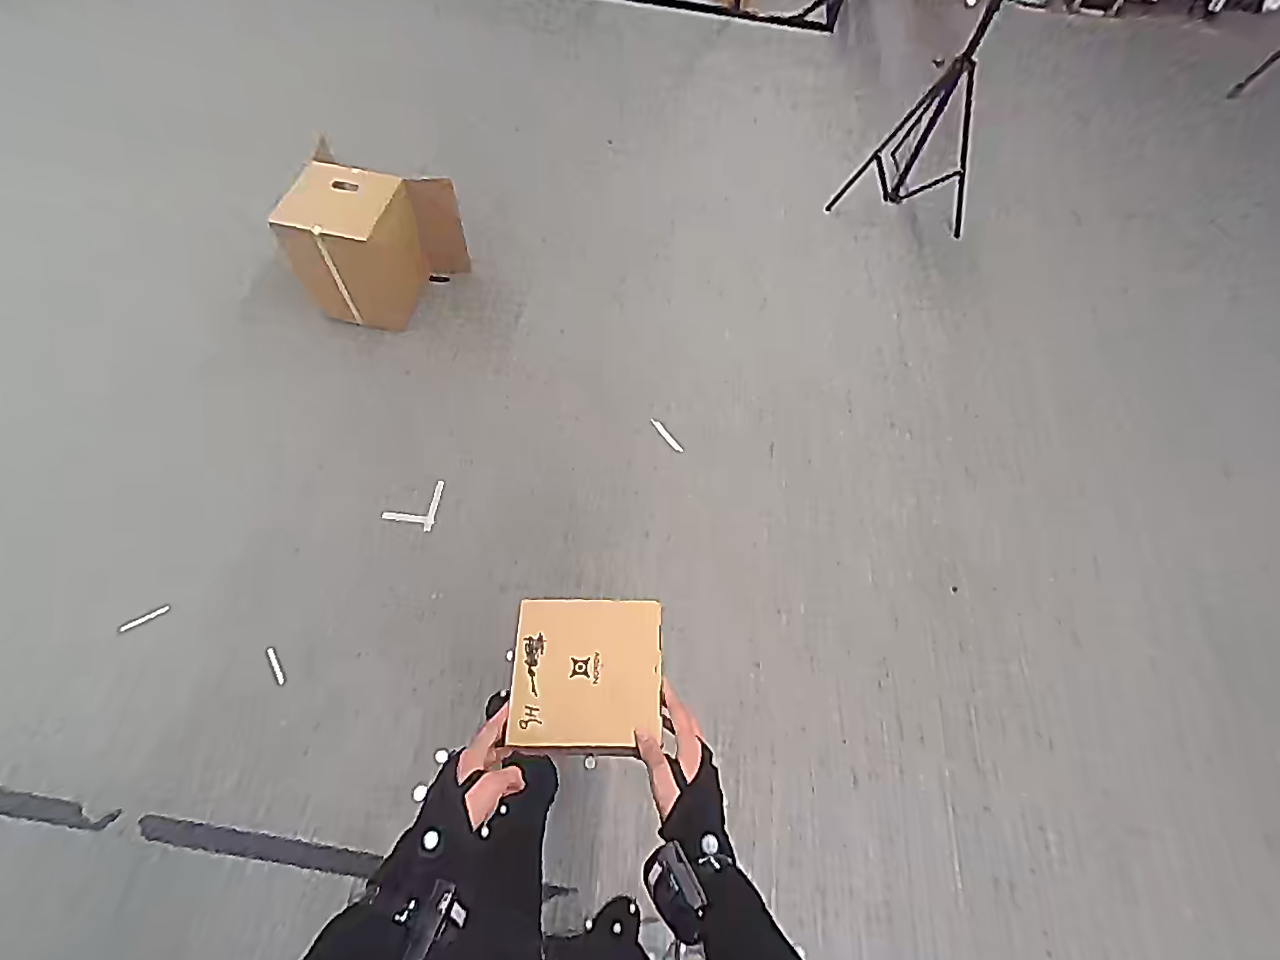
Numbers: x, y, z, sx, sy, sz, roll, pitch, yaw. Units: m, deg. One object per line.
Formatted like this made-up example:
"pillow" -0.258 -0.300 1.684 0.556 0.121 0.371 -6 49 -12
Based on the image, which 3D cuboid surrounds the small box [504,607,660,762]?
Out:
"small box" -0.067 0.273 0.710 0.179 0.176 0.168 2 60 -1
